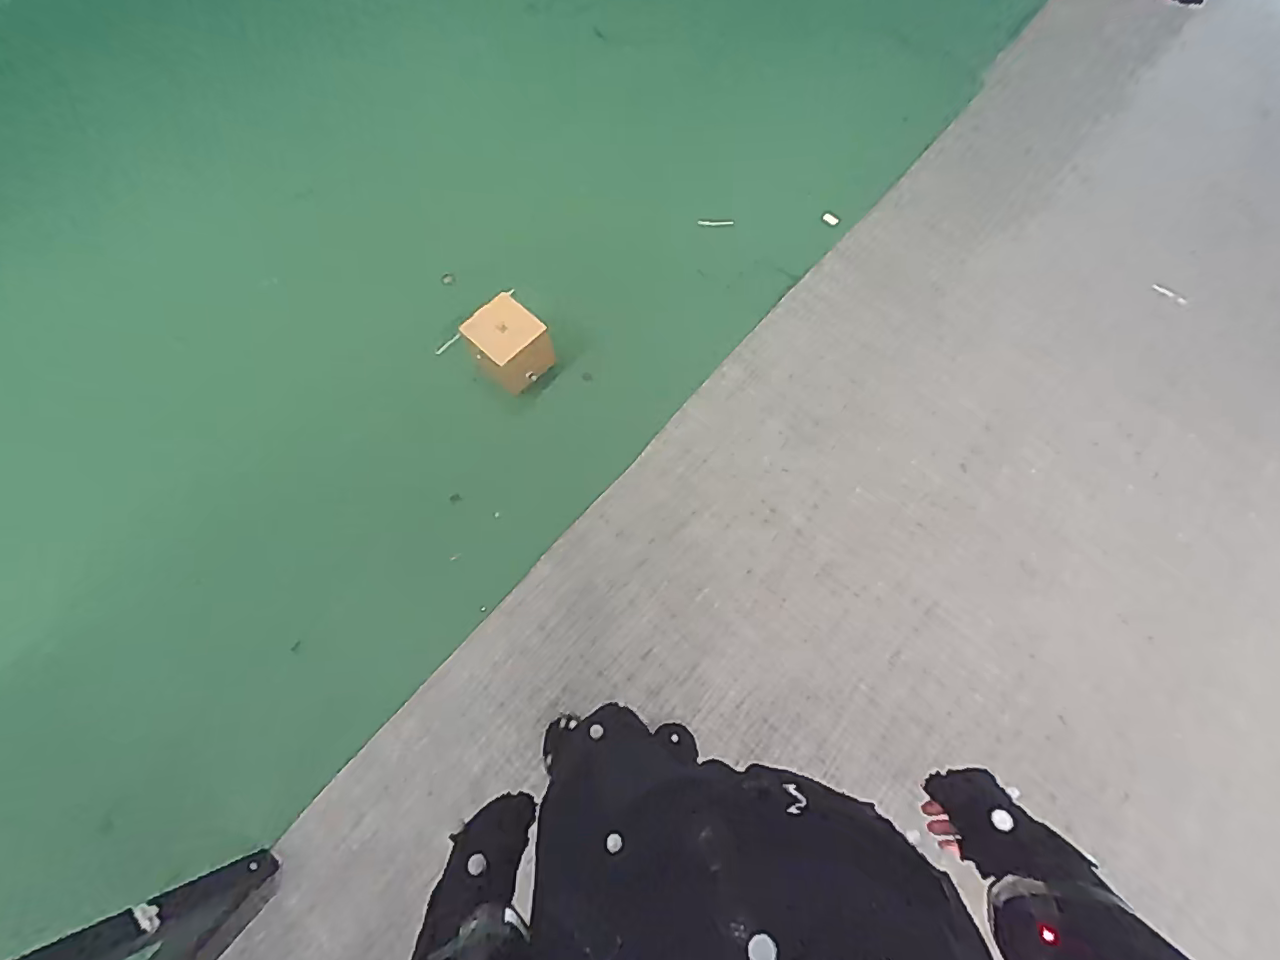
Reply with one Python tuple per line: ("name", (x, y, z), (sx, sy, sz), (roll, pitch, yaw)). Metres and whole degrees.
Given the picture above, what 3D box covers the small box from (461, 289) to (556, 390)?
("small box", (-0.357, -0.381, 1.497), (0.179, 0.176, 0.168), (41, 76, 12))
